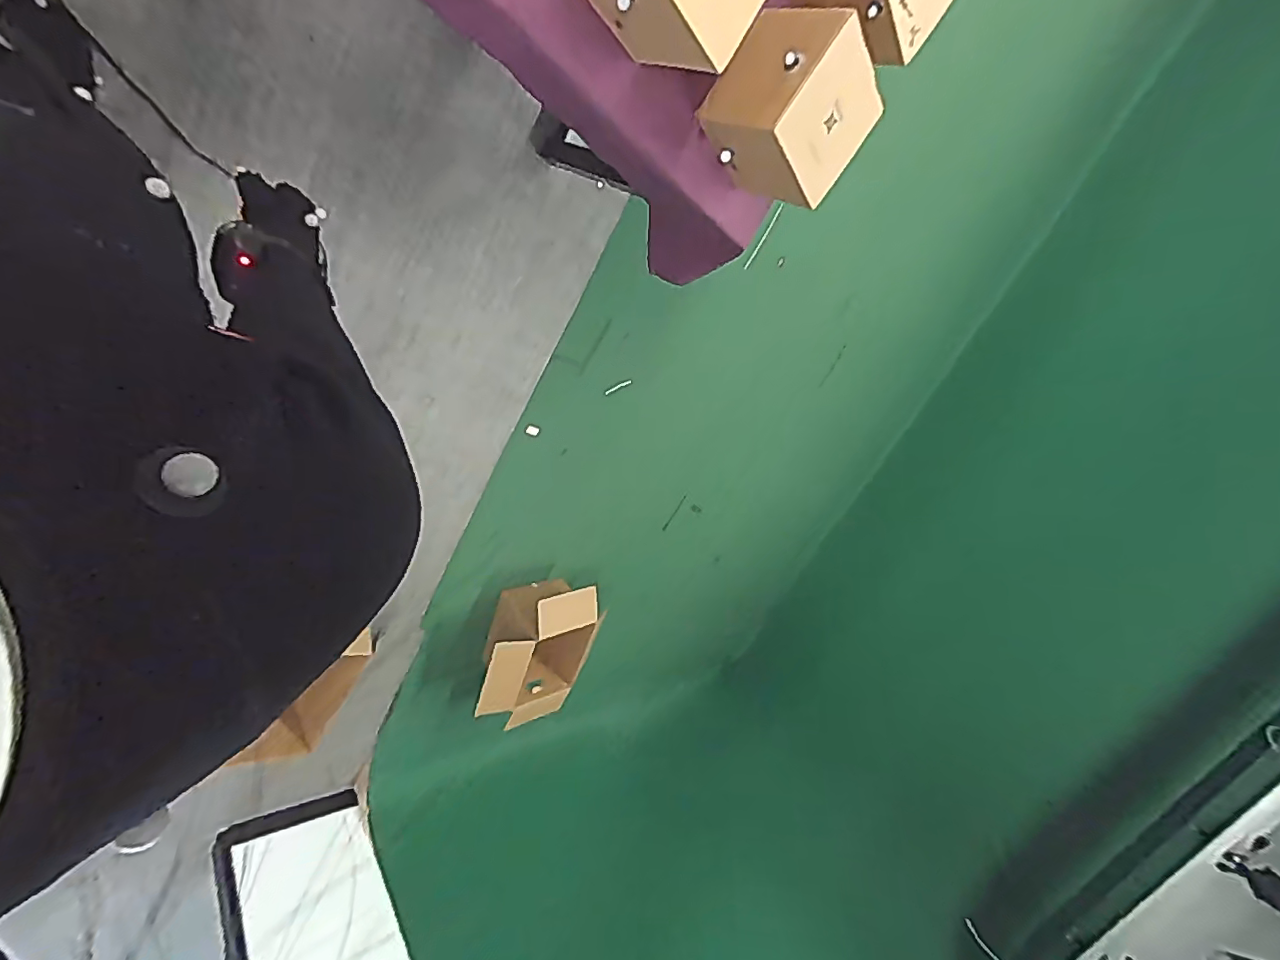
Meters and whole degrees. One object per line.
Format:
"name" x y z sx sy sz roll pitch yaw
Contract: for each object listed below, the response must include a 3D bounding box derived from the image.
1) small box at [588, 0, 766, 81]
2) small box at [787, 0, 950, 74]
"small box" 0.038 -0.588 0.592 0.168 0.176 0.179 19 109 -51
"small box" 0.333 -0.728 0.765 0.168 0.176 0.179 22 106 -52
